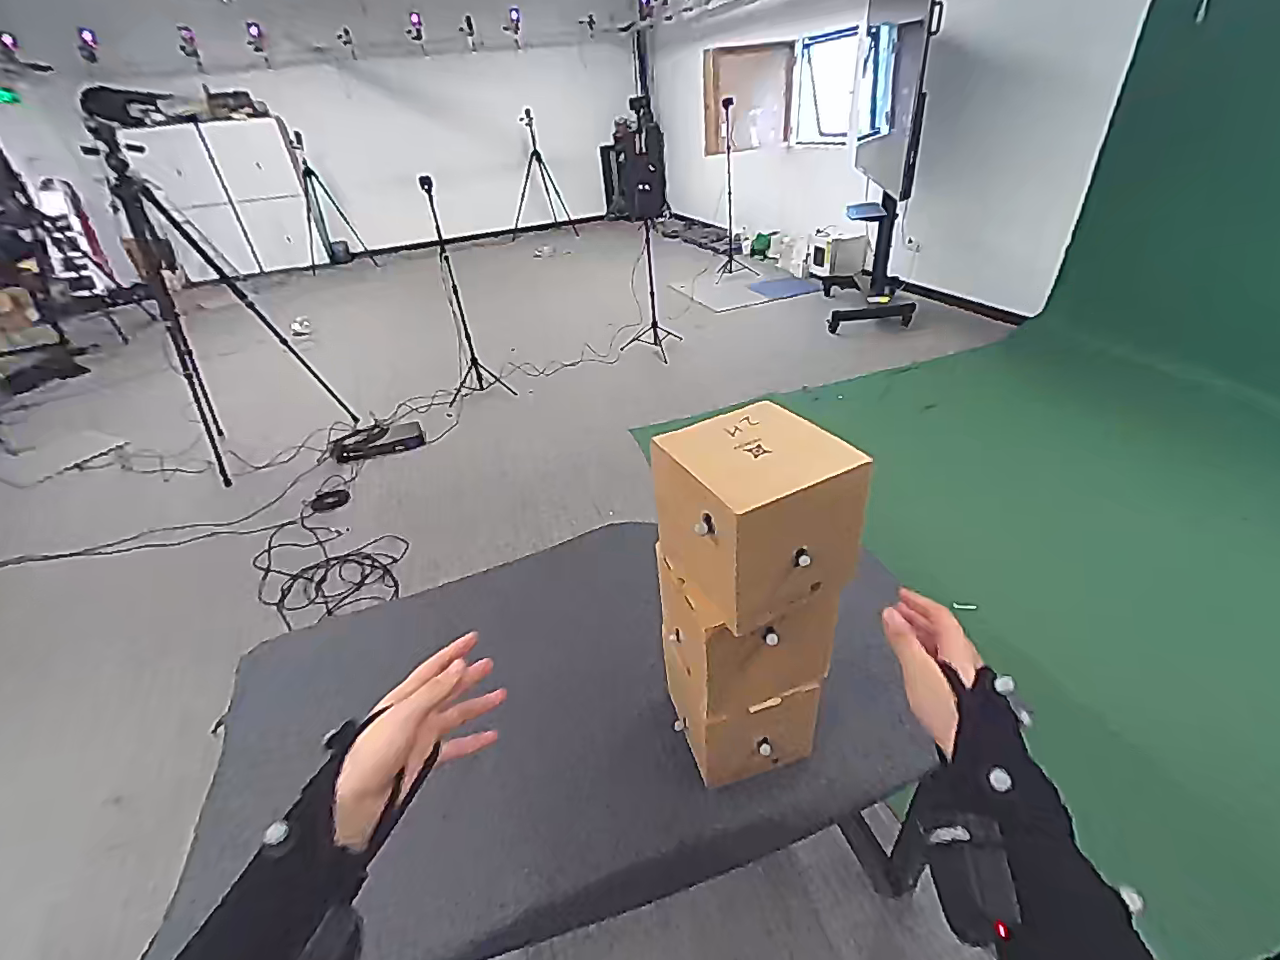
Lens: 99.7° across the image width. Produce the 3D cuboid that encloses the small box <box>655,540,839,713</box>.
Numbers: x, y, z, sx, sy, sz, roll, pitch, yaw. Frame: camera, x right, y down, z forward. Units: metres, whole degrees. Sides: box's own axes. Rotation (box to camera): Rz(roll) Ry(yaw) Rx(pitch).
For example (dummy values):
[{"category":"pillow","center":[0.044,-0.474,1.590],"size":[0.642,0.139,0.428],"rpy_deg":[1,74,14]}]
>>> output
[{"category":"small box","center":[0.132,0.166,0.710],"size":[0.179,0.176,0.168],"rpy_deg":[-16,34,-12]}]

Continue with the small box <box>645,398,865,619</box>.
[{"category":"small box","center":[0.123,0.033,0.614],"size":[0.168,0.176,0.179],"rpy_deg":[-20,35,-19]}]

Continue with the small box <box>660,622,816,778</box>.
[{"category":"small box","center":[0.139,0.306,0.797],"size":[0.168,0.176,0.179],"rpy_deg":[-14,34,-10]}]
